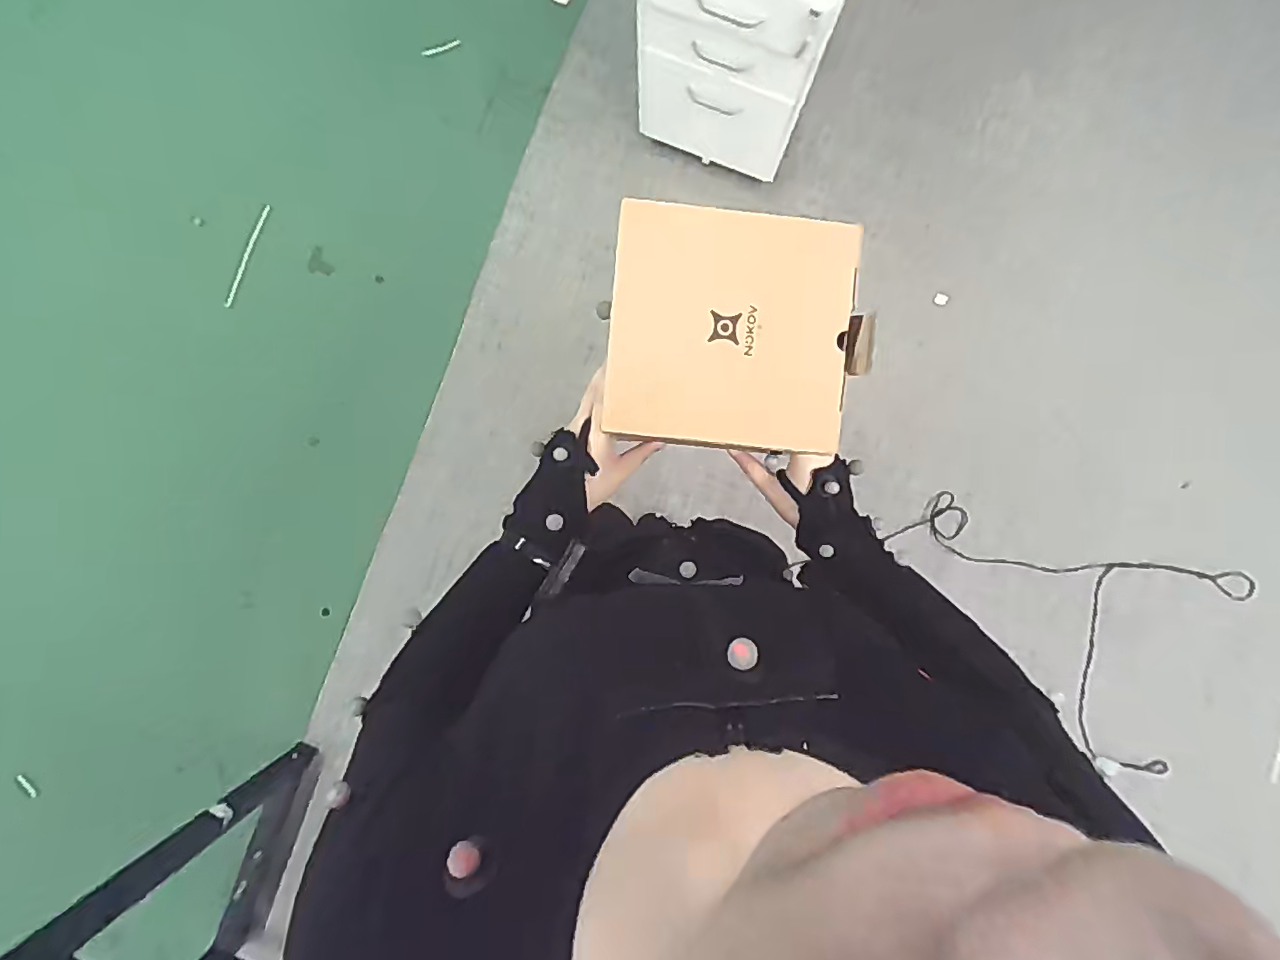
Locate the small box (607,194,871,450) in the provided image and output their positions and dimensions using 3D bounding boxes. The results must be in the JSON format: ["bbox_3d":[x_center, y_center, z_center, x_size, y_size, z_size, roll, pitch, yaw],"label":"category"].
[{"bbox_3d":[0.068,-0.115,0.464,0.179,0.176,0.168,5,93,-3],"label":"small box"}]
